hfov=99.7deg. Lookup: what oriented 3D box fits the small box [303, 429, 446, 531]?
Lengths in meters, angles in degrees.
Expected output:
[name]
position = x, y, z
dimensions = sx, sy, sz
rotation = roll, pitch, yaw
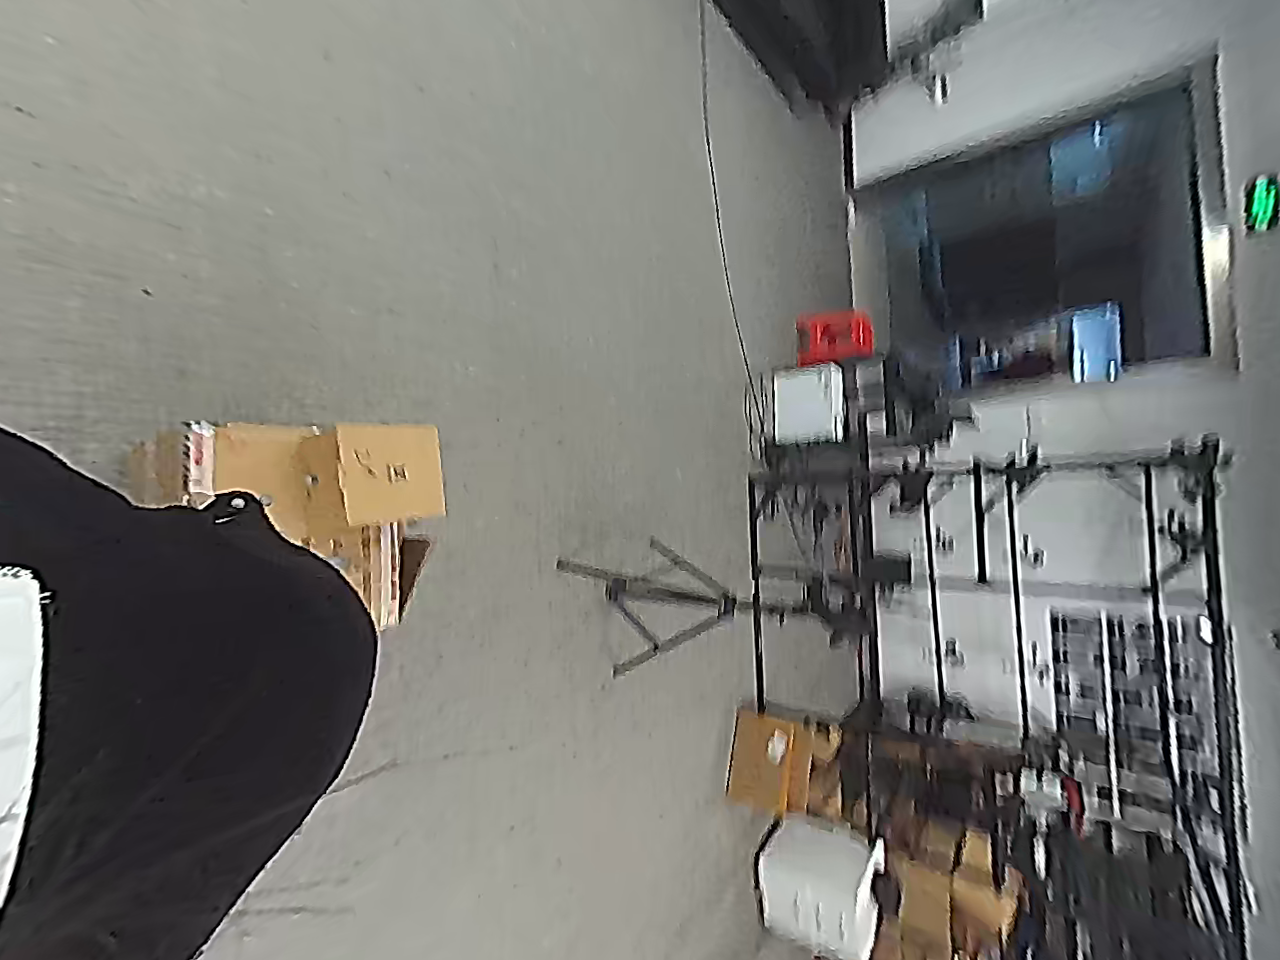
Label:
[small box]
position = -0.476, 0.002, 0.972
dimensions = 0.179, 0.176, 0.168
rotation = -4, 89, -49
